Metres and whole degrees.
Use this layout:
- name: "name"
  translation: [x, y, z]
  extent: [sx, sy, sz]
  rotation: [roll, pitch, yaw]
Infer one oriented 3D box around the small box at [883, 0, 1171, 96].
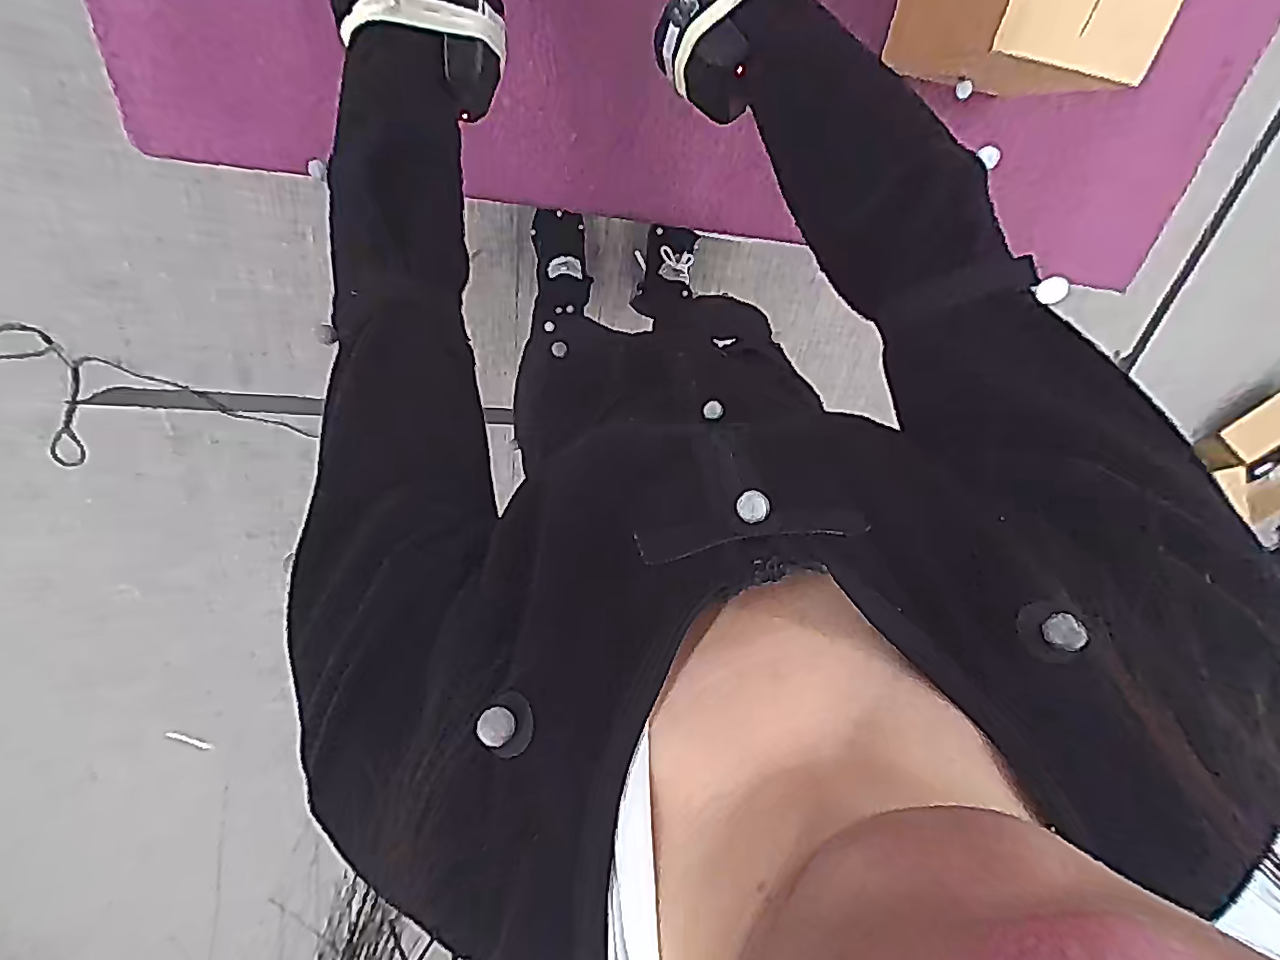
- name: "small box"
  translation: [0.357, -0.471, 0.491]
  extent: [0.168, 0.176, 0.179]
  rotation: [1, 122, -14]
